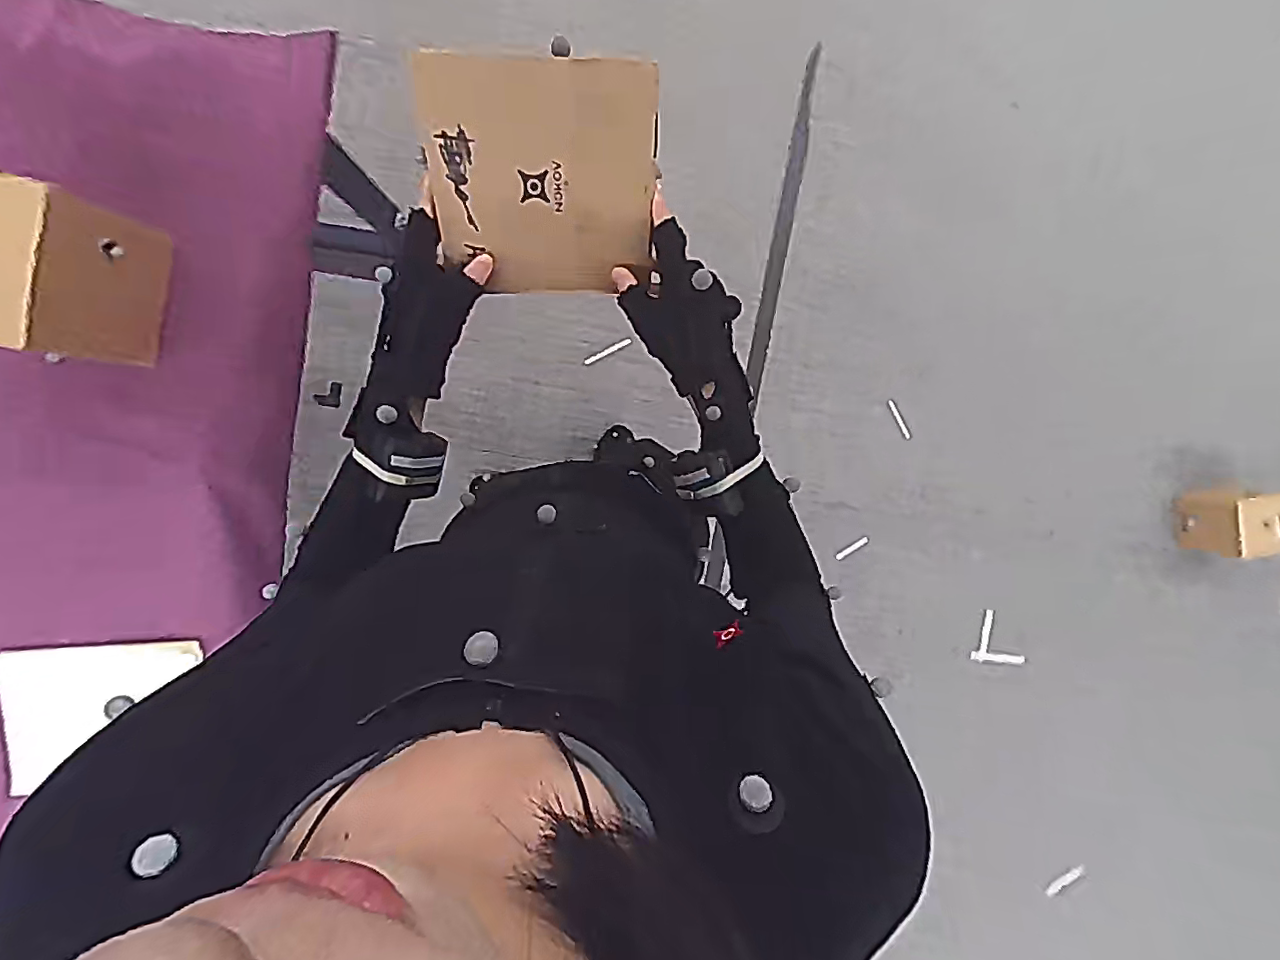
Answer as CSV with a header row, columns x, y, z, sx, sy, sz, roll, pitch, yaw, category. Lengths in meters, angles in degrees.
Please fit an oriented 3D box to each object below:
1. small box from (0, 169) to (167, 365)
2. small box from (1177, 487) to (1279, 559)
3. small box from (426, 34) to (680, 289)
x,y,z,sx,sy,sz,roll,pitch,yaw,category
-0.704,-0.244,0.626,0.168,0.176,0.179,12,95,-3,small box
1.727,0.118,1.567,0.179,0.176,0.168,-10,95,-2,small box
-0.071,-0.276,0.479,0.179,0.176,0.168,-1,125,-7,small box
